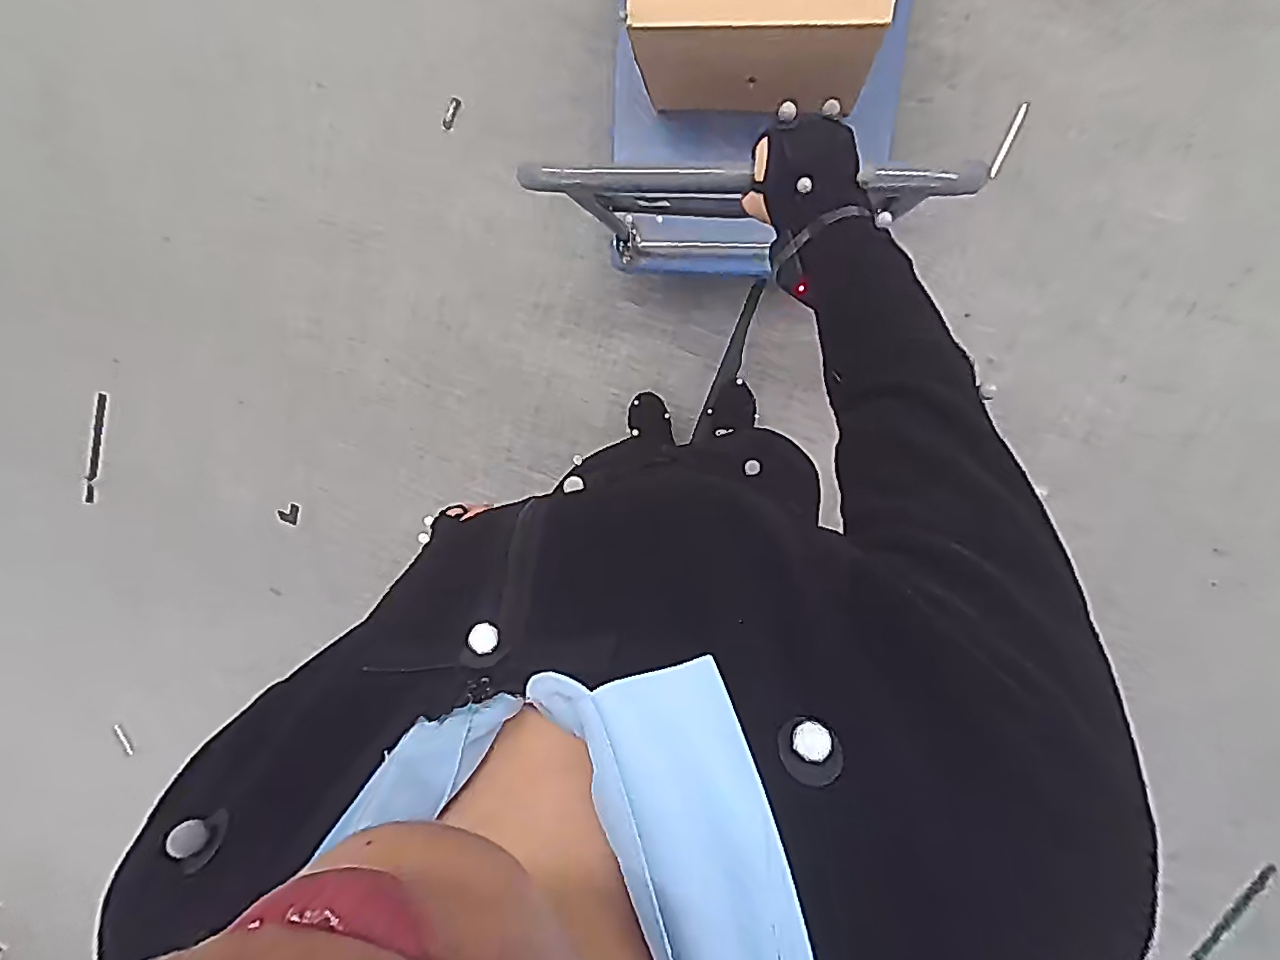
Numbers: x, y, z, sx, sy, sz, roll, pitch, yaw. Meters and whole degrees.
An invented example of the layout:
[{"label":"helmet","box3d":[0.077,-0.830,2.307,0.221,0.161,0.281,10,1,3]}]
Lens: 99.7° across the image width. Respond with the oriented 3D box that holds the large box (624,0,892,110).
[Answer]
[{"label":"large box","box3d":[0.209,-0.873,0.928,0.408,0.320,0.320,7,102,10]}]
